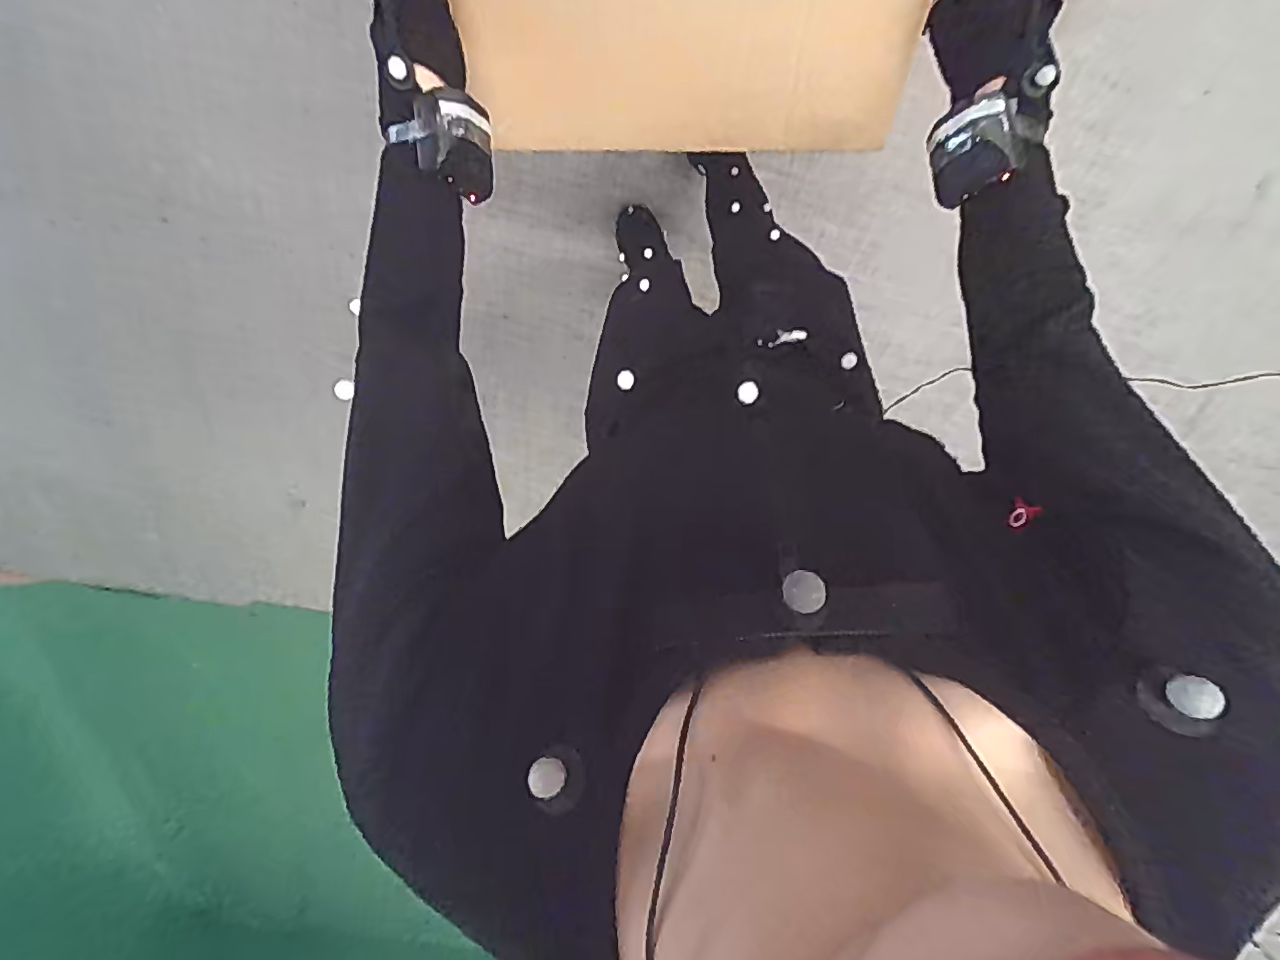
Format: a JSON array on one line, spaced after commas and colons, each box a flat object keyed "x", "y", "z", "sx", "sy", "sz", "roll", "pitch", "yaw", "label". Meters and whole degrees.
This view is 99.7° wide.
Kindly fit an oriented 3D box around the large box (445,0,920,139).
[{"x": 0.041, "y": -0.549, "z": 0.499, "sx": 0.408, "sy": 0.320, "sz": 0.320, "roll": 2, "pitch": 142, "yaw": 3, "label": "large box"}]
